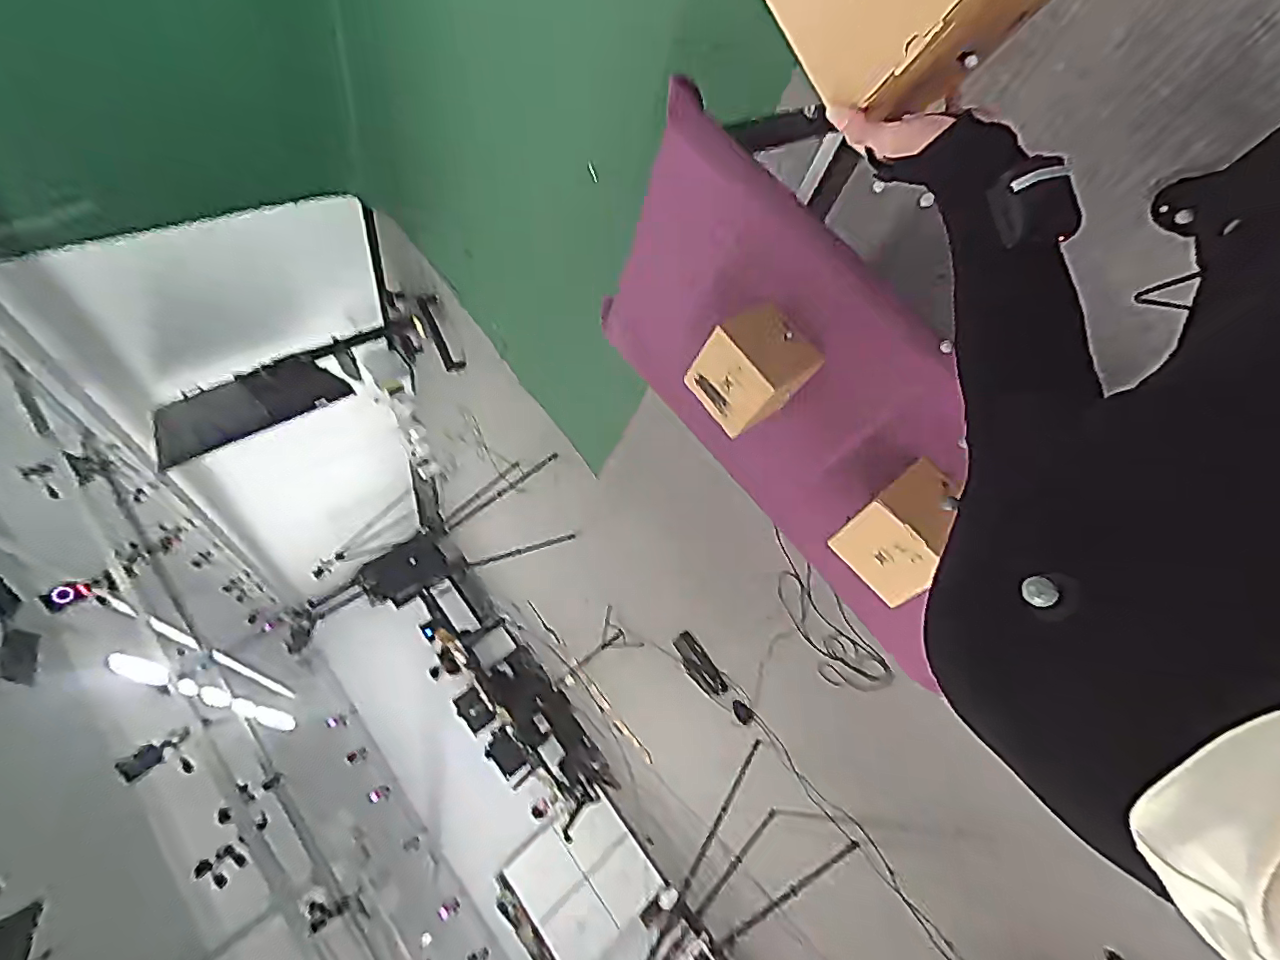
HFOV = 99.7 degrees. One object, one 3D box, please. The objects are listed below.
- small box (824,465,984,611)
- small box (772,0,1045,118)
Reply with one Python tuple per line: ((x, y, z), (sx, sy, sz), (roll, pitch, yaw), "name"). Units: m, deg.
((0.487, 0.106, 1.001), (0.168, 0.176, 0.179), (48, 149, 16), "small box")
((0.236, -0.453, 0.460), (0.179, 0.176, 0.168), (60, 151, -2), "small box")
